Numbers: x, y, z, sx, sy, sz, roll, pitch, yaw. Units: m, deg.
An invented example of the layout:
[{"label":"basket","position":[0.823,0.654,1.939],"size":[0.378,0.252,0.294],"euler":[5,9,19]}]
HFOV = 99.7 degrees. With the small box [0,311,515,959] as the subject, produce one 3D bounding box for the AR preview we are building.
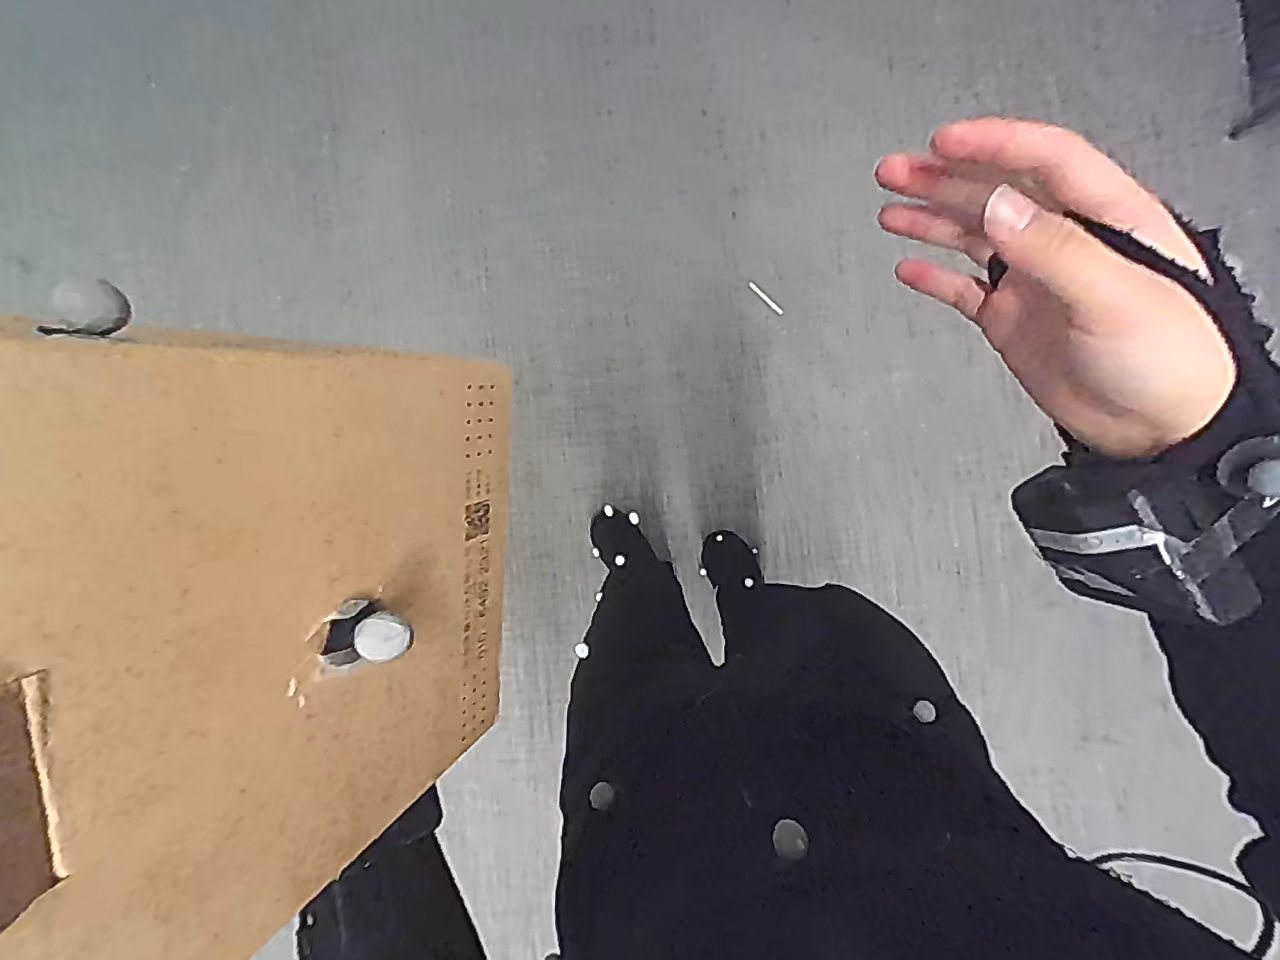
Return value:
[{"label":"small box","position":[-0.164,0.030,0.197],"size":[0.179,0.176,0.168],"euler":[11,104,20]}]
